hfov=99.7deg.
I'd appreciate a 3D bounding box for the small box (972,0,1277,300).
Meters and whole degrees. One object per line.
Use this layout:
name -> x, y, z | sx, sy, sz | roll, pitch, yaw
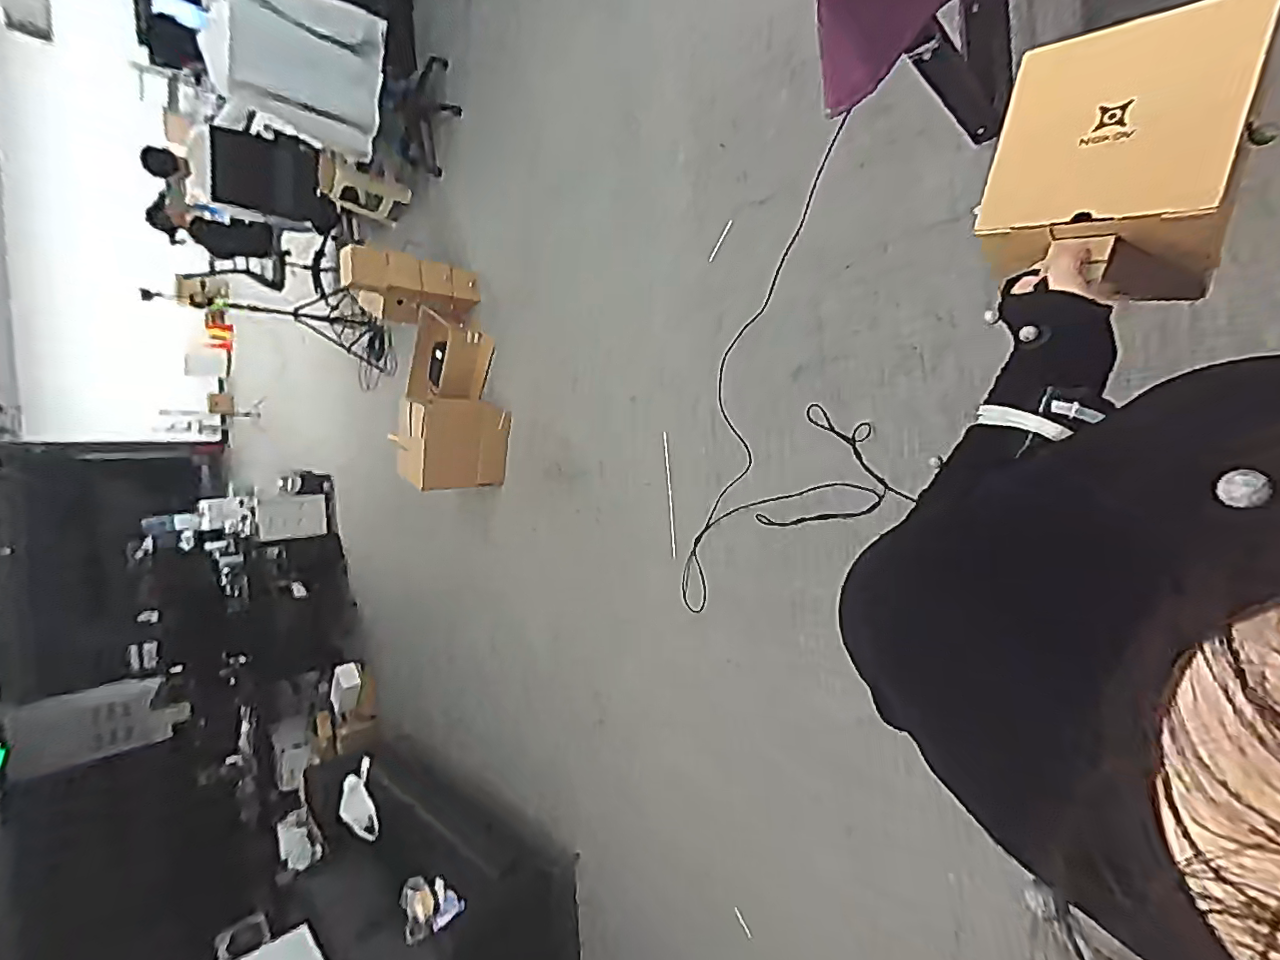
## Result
small box -> 0.447, -0.289, 0.516 | 0.168, 0.176, 0.179 | 16, 93, 44
